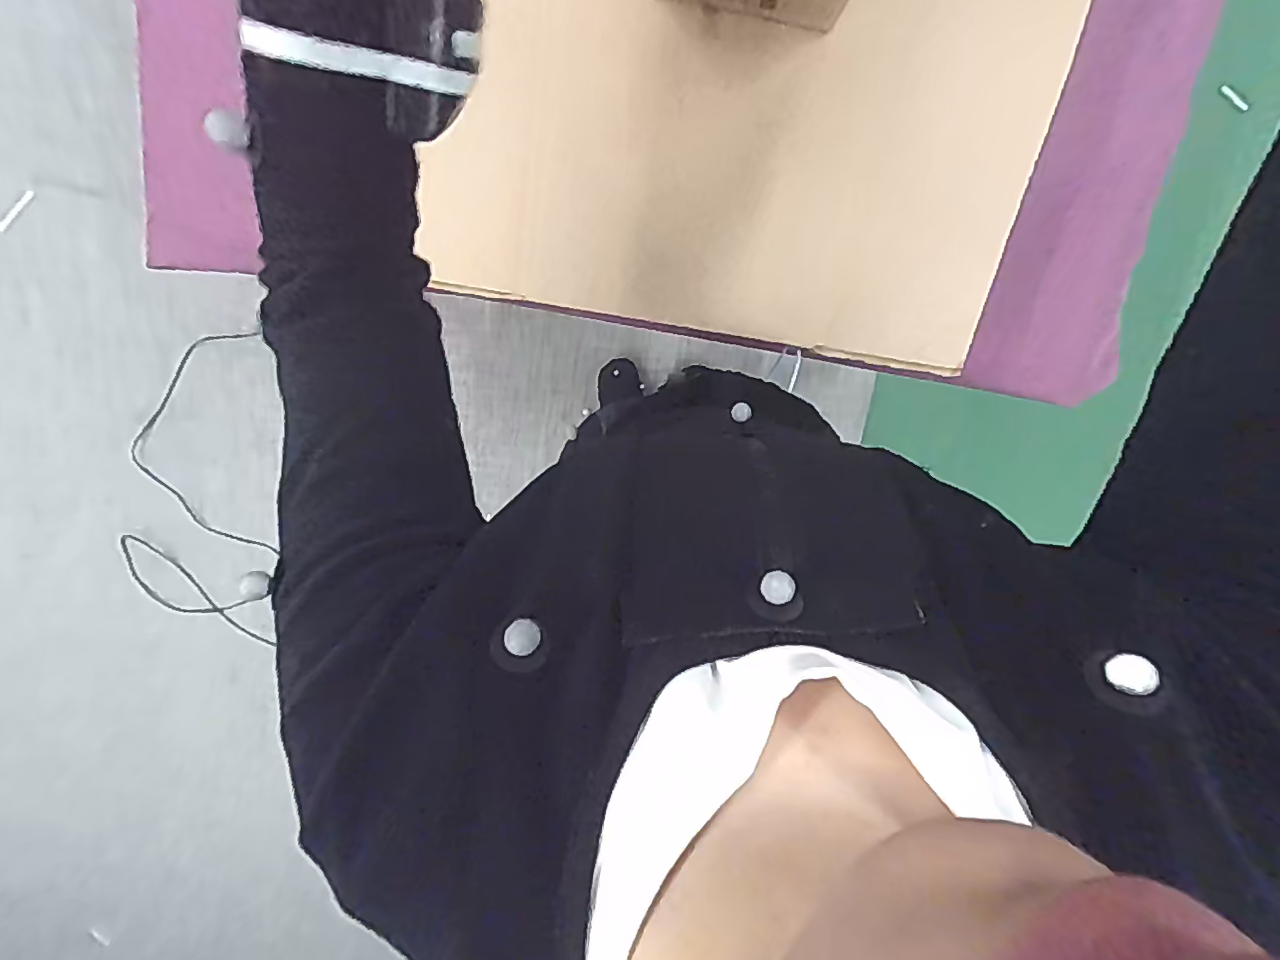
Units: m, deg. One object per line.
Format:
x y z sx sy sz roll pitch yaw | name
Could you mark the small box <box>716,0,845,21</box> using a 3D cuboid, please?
0.098 -0.461 0.364 0.168 0.176 0.179 7 103 -2 | small box
